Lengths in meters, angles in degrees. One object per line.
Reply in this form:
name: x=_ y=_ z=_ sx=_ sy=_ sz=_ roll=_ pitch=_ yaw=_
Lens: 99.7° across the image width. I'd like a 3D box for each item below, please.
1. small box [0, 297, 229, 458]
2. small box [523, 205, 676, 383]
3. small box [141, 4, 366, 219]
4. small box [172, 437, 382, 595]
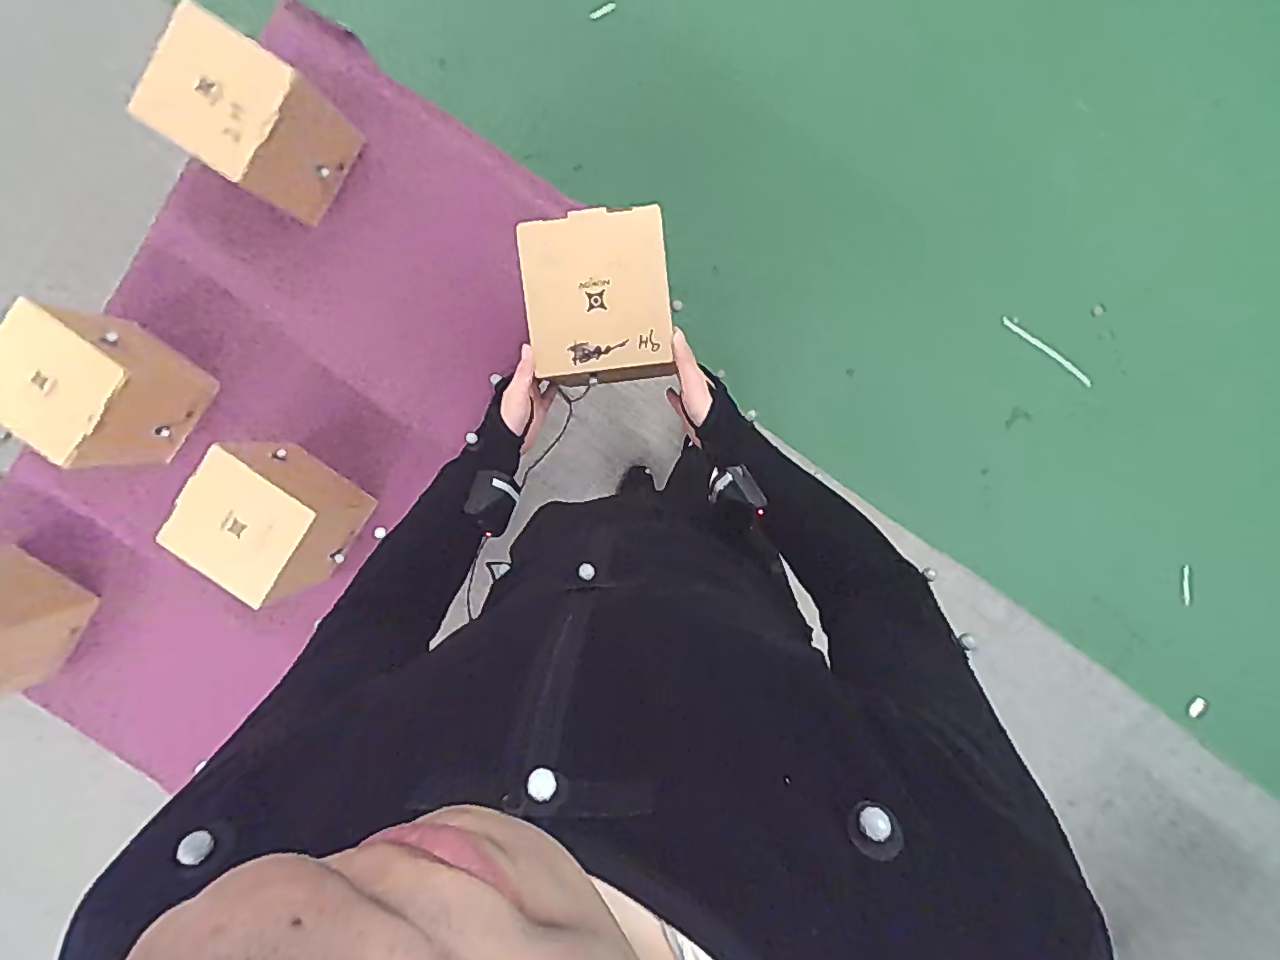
small box: x=-0.813 y=-0.149 z=0.845 sx=0.179 sy=0.176 sz=0.168 roll=36 pitch=94 yaw=-3
small box: x=-0.042 y=-0.226 z=0.699 sx=0.168 sy=0.176 sz=0.179 roll=-4 pitch=96 yaw=6
small box: x=-0.556 y=-0.523 z=0.801 sx=0.179 sy=0.176 sz=0.168 roll=34 pitch=98 yaw=-1
small box: x=-0.553 y=0.049 z=0.849 sx=0.179 sy=0.176 sz=0.168 roll=35 pitch=96 yaw=0
